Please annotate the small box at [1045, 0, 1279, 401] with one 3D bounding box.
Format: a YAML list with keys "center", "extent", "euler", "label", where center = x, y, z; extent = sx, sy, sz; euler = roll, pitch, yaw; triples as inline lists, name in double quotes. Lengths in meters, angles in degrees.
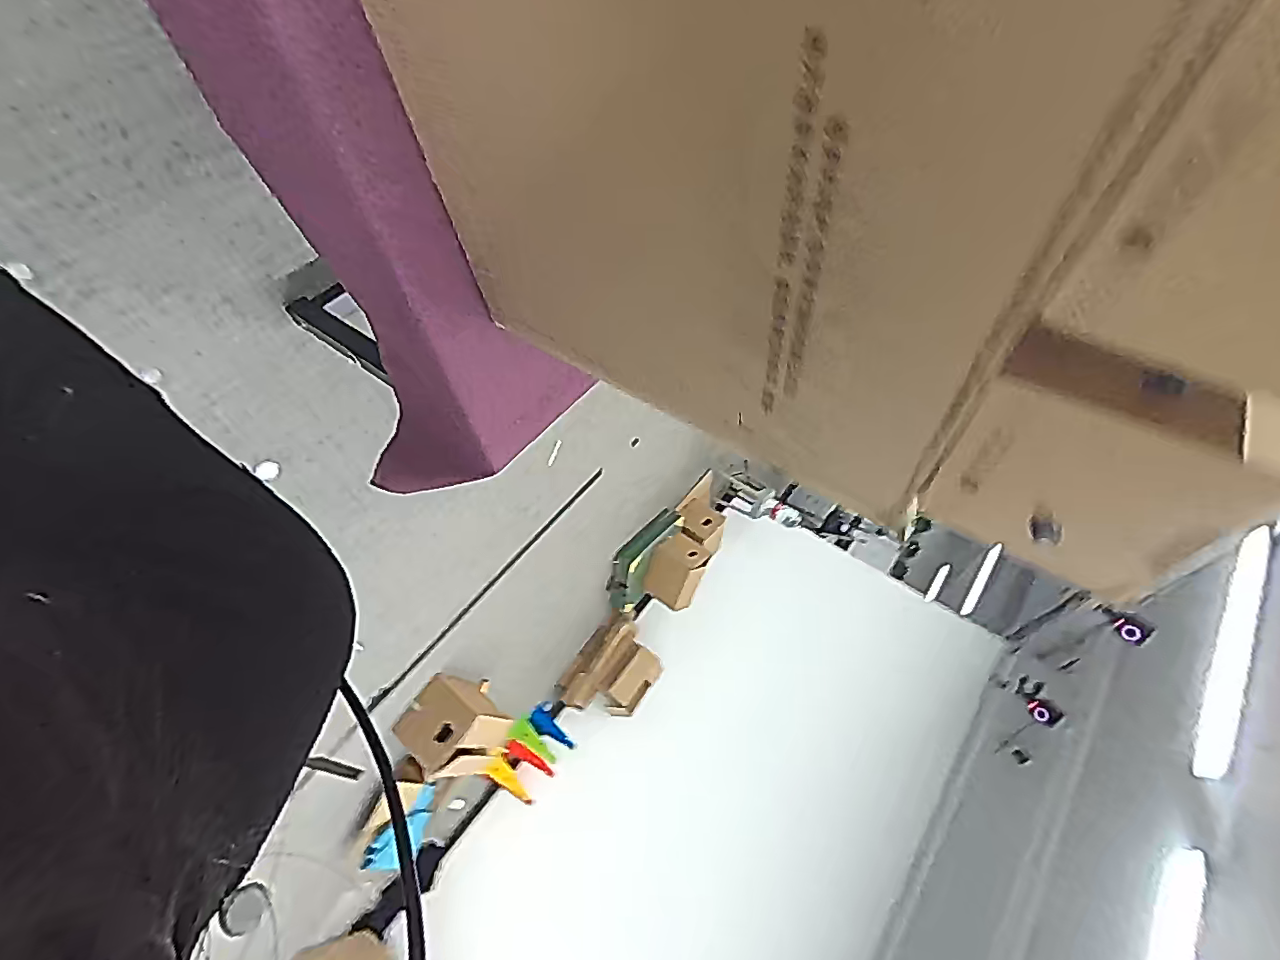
- center: [0.347, -0.162, 0.262]
  extent: [0.179, 0.176, 0.168]
  euler: [-50, 155, -24]
  label: "small box"

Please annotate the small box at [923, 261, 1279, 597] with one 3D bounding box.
- center: [0.362, -0.046, 0.439]
  extent: [0.179, 0.176, 0.168]
  euler: [-48, 154, -27]
  label: "small box"
